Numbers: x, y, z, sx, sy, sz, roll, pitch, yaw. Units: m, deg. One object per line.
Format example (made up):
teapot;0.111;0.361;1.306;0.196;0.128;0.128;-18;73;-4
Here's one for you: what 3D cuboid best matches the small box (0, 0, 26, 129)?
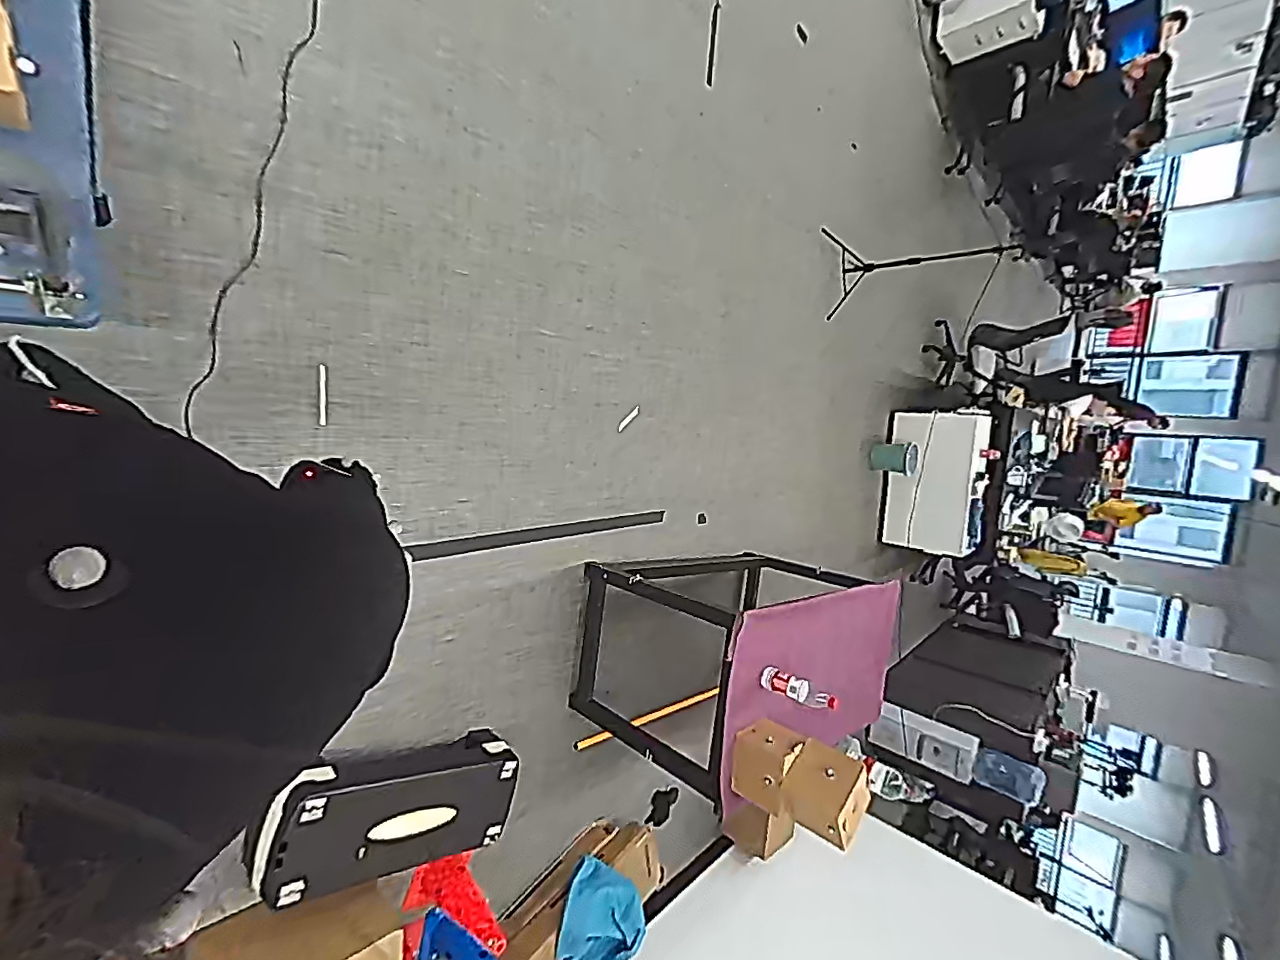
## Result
small box;-0.969;-0.604;0.721;0.179;0.176;0.168;-9;103;-45
